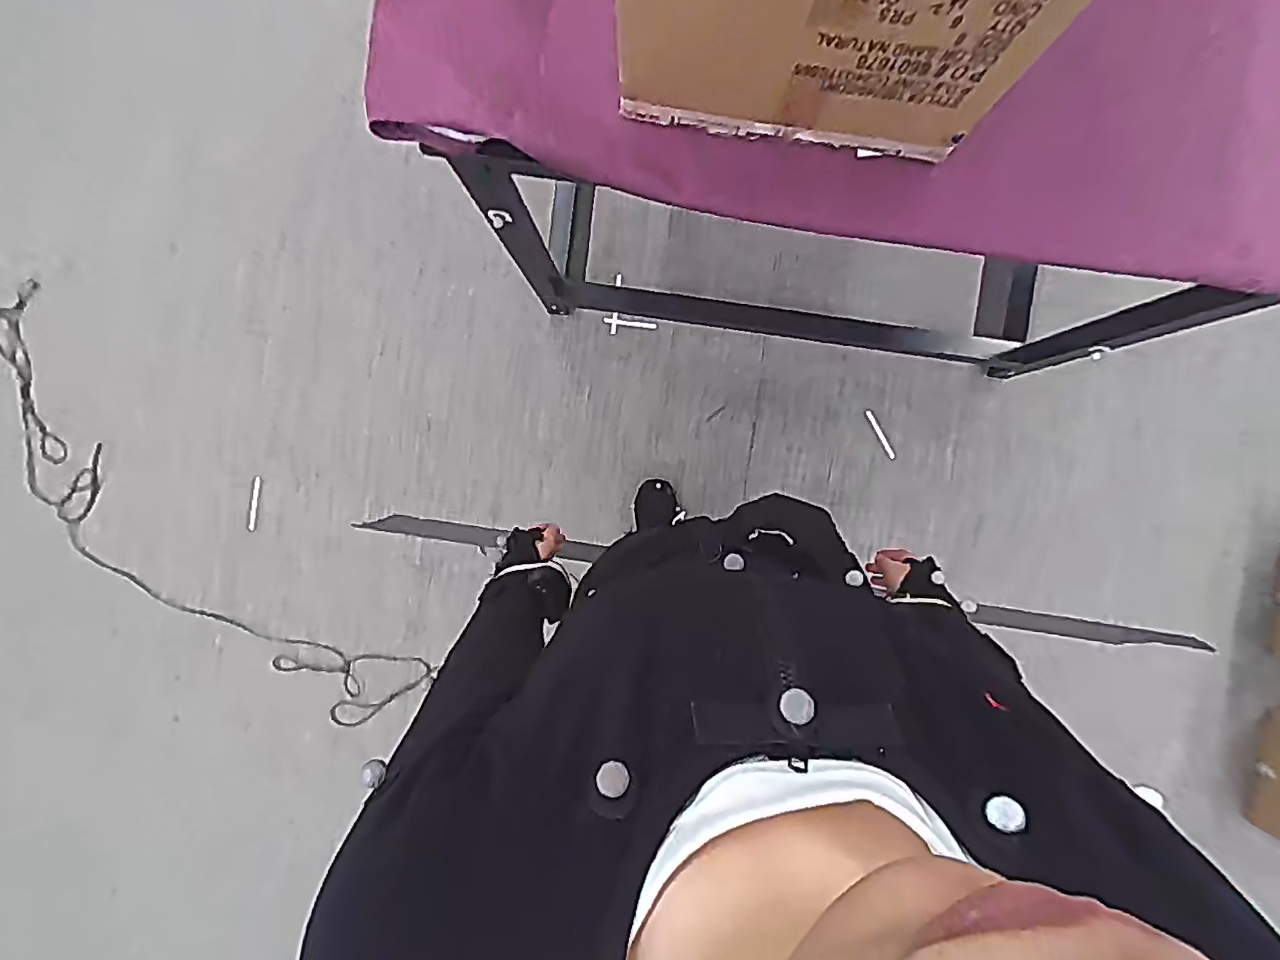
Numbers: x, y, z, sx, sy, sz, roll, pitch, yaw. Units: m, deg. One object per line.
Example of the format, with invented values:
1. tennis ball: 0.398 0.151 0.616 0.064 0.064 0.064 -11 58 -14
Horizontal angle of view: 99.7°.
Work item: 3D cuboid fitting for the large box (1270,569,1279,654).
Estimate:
1. large box: 1.795 0.308 1.203 0.408 0.320 0.320 7 91 2
